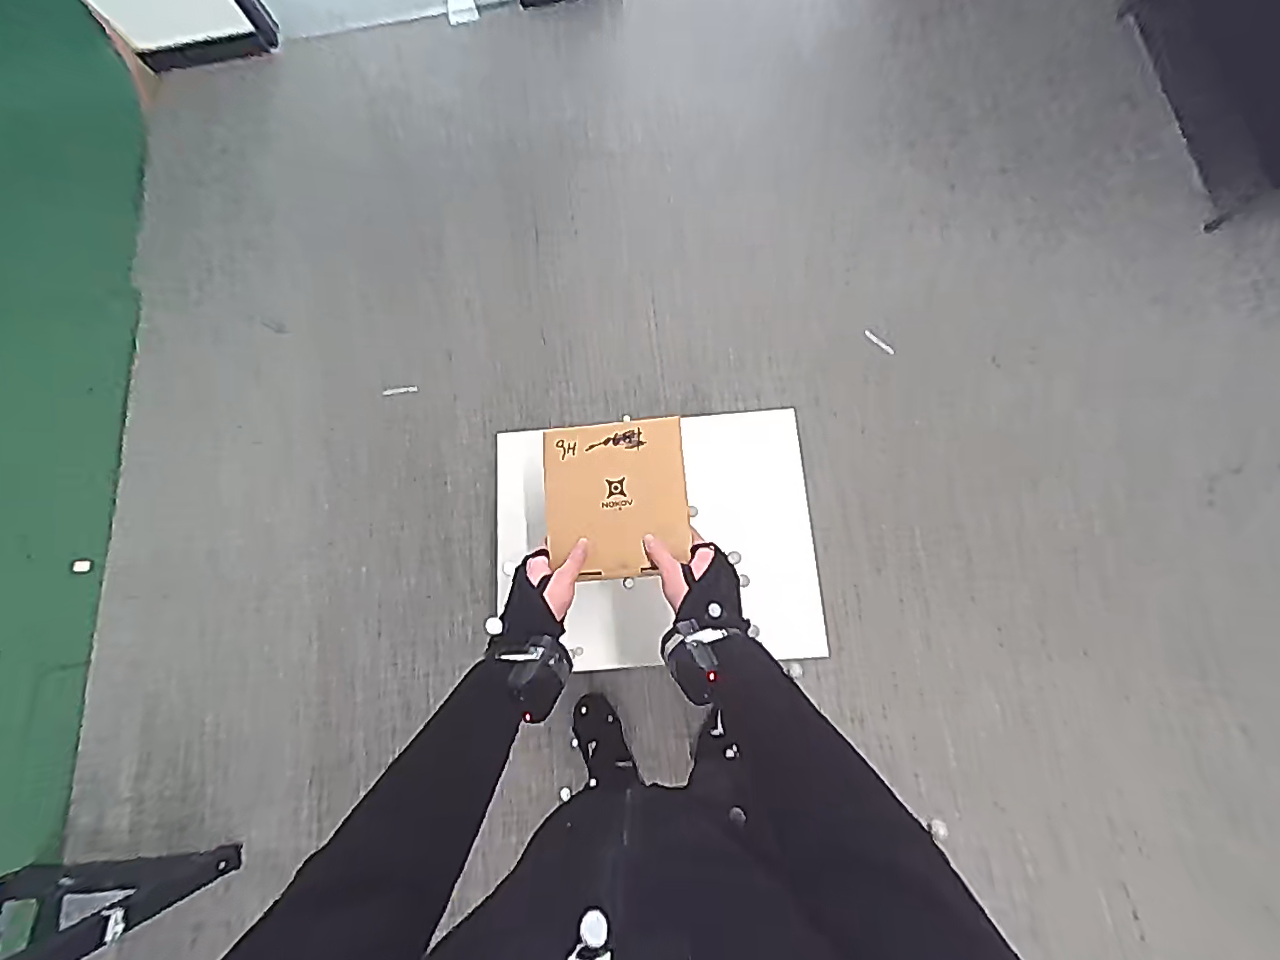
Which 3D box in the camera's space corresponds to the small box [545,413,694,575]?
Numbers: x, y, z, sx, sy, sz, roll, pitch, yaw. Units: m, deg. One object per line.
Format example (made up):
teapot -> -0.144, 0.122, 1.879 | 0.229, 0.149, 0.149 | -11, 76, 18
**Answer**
small box -> -0.019, 0.030, 0.705 | 0.168, 0.176, 0.179 | -7, 77, 3
